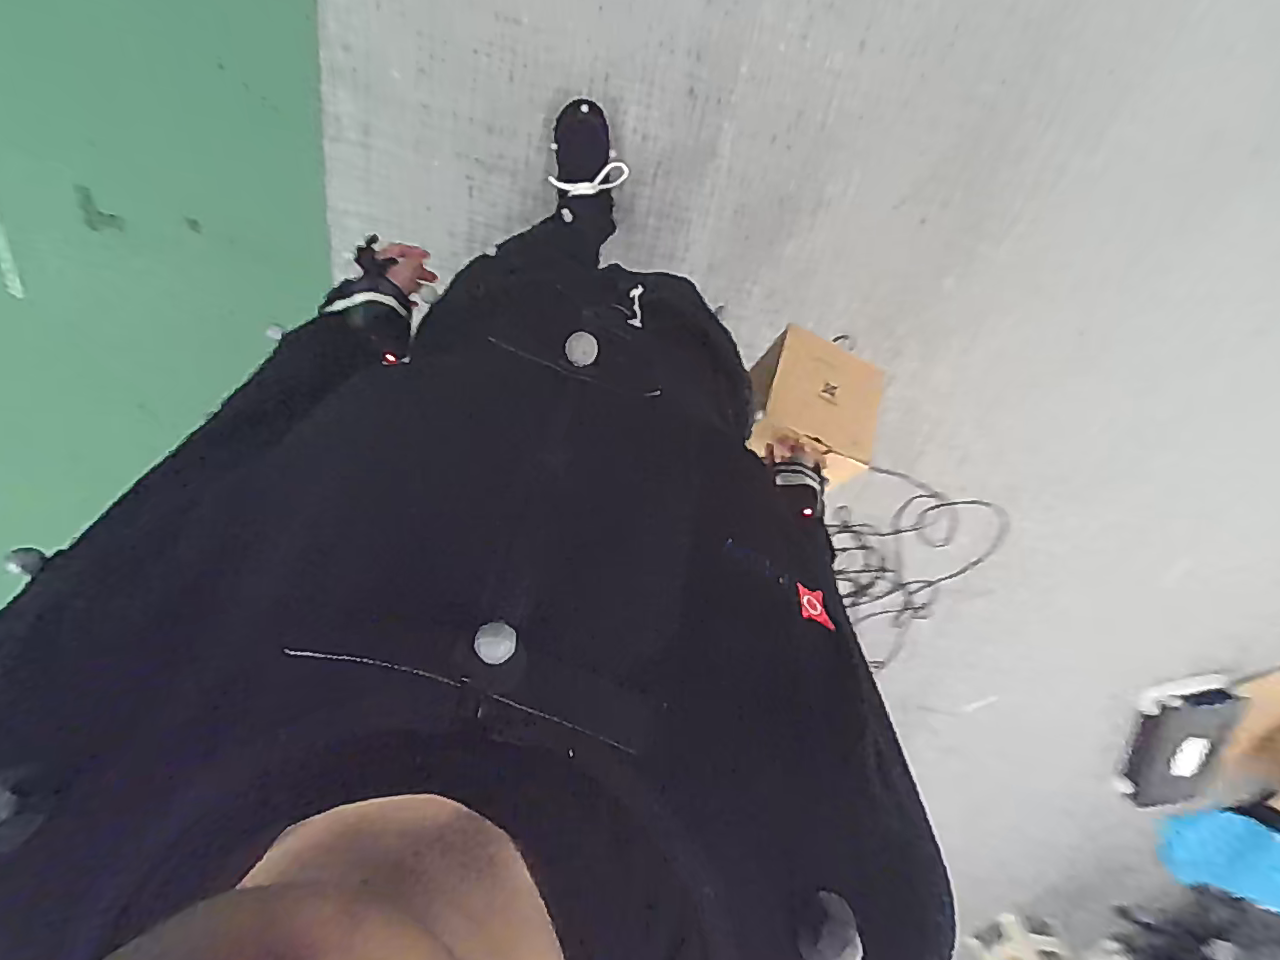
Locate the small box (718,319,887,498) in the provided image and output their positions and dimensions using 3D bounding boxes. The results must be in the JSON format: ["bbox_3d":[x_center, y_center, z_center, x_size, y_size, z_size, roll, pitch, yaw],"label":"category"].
[{"bbox_3d":[0.234,-0.096,0.808,0.168,0.179,0.176,24,153,-8],"label":"small box"}]
